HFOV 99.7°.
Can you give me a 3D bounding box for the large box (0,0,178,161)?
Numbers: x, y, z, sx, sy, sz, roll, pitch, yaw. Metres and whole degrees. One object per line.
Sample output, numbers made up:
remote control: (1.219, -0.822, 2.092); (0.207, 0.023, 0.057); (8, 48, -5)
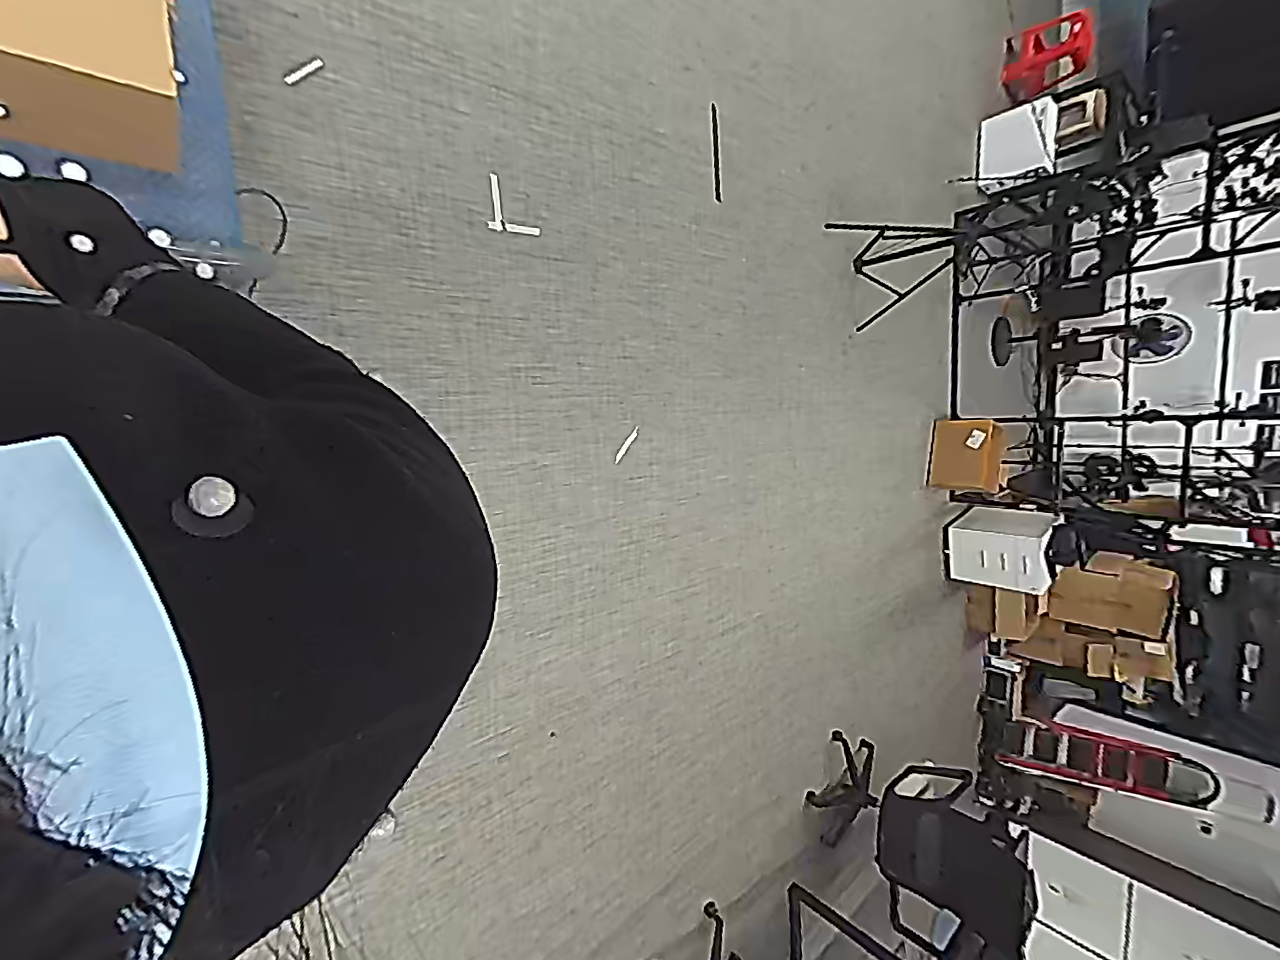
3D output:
large box: (-0.929, -0.705, 0.754); (0.408, 0.320, 0.320); (-7, 98, -39)
